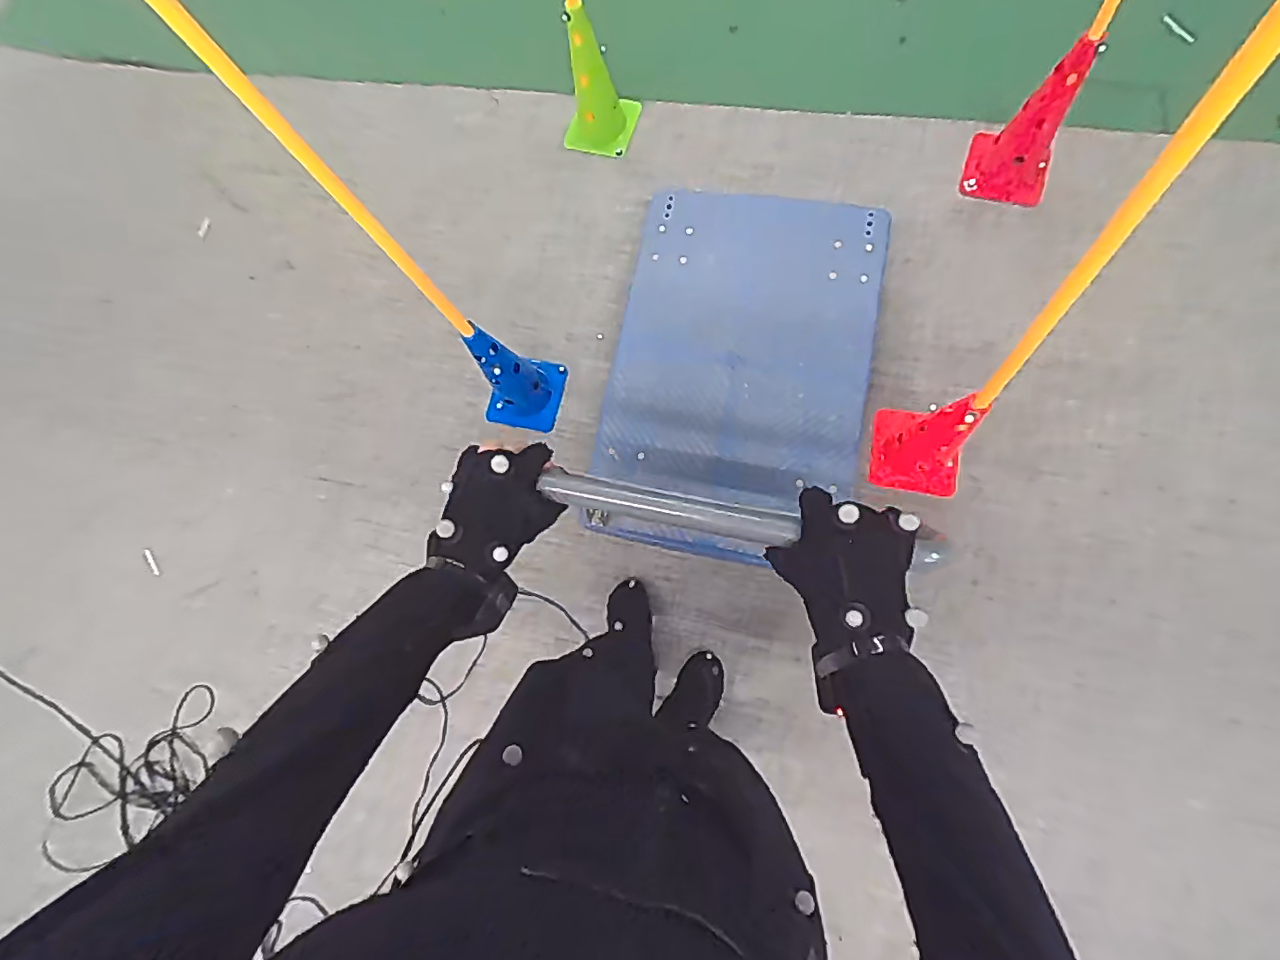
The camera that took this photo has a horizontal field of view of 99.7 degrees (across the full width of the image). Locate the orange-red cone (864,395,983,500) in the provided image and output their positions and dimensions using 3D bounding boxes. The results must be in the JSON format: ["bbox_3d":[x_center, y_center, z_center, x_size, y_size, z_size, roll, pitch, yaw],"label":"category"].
[{"bbox_3d":[0.635,-0.097,1.159,0.199,0.360,0.198,11,79,12],"label":"orange-red cone"}]

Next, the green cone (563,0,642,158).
[{"bbox_3d":[-0.136,-1.116,1.488,0.202,0.368,0.200,16,80,12],"label":"green cone"}]
